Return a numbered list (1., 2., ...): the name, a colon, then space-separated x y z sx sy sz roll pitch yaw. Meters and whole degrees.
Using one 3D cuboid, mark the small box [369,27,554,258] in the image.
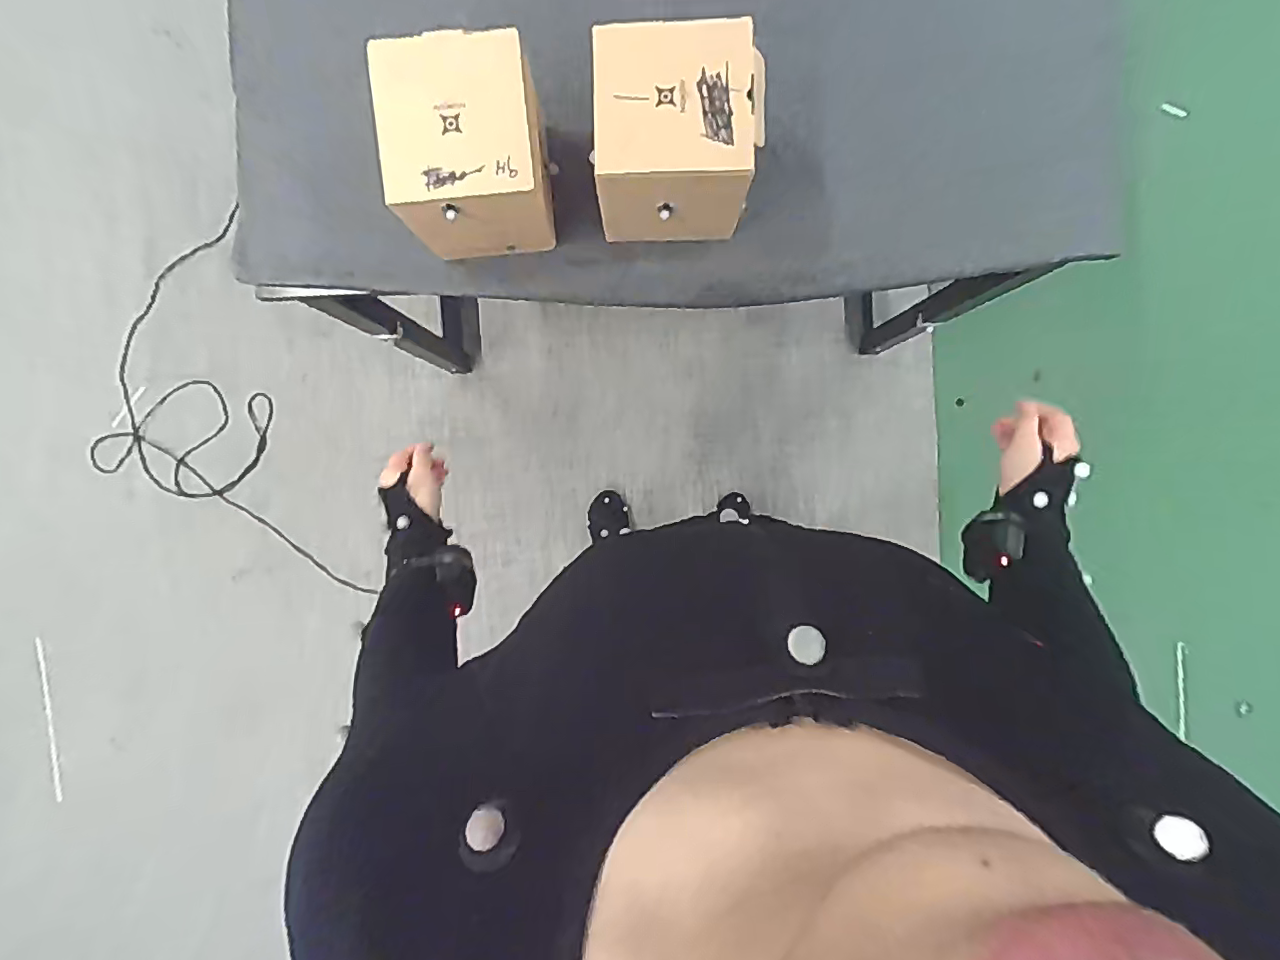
1. small box: -0.204 -0.396 0.662 0.168 0.176 0.179 -5 91 1
